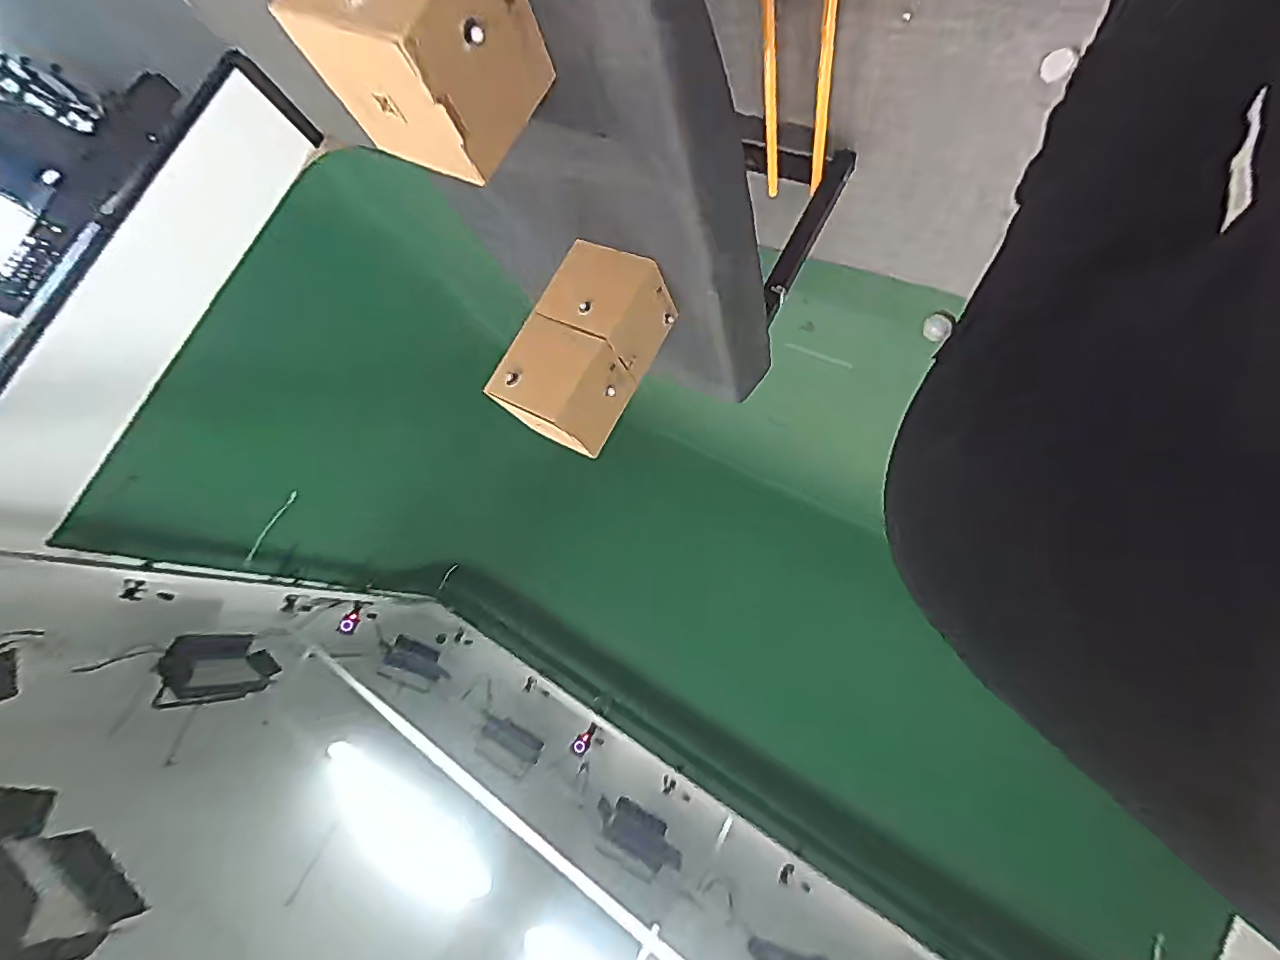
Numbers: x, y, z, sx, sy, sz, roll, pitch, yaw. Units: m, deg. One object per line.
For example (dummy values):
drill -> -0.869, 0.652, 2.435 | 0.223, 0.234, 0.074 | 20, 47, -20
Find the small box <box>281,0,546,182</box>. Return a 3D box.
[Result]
small box -> -0.224, -0.472, 0.586 | 0.179, 0.176, 0.168 | 28, 172, 17

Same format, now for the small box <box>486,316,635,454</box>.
small box -> -0.139, -0.177, 0.999 | 0.179, 0.176, 0.168 | 26, 173, 27

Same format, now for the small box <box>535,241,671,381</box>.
small box -> -0.058, -0.319, 1.018 | 0.179, 0.176, 0.168 | 27, 173, 25
